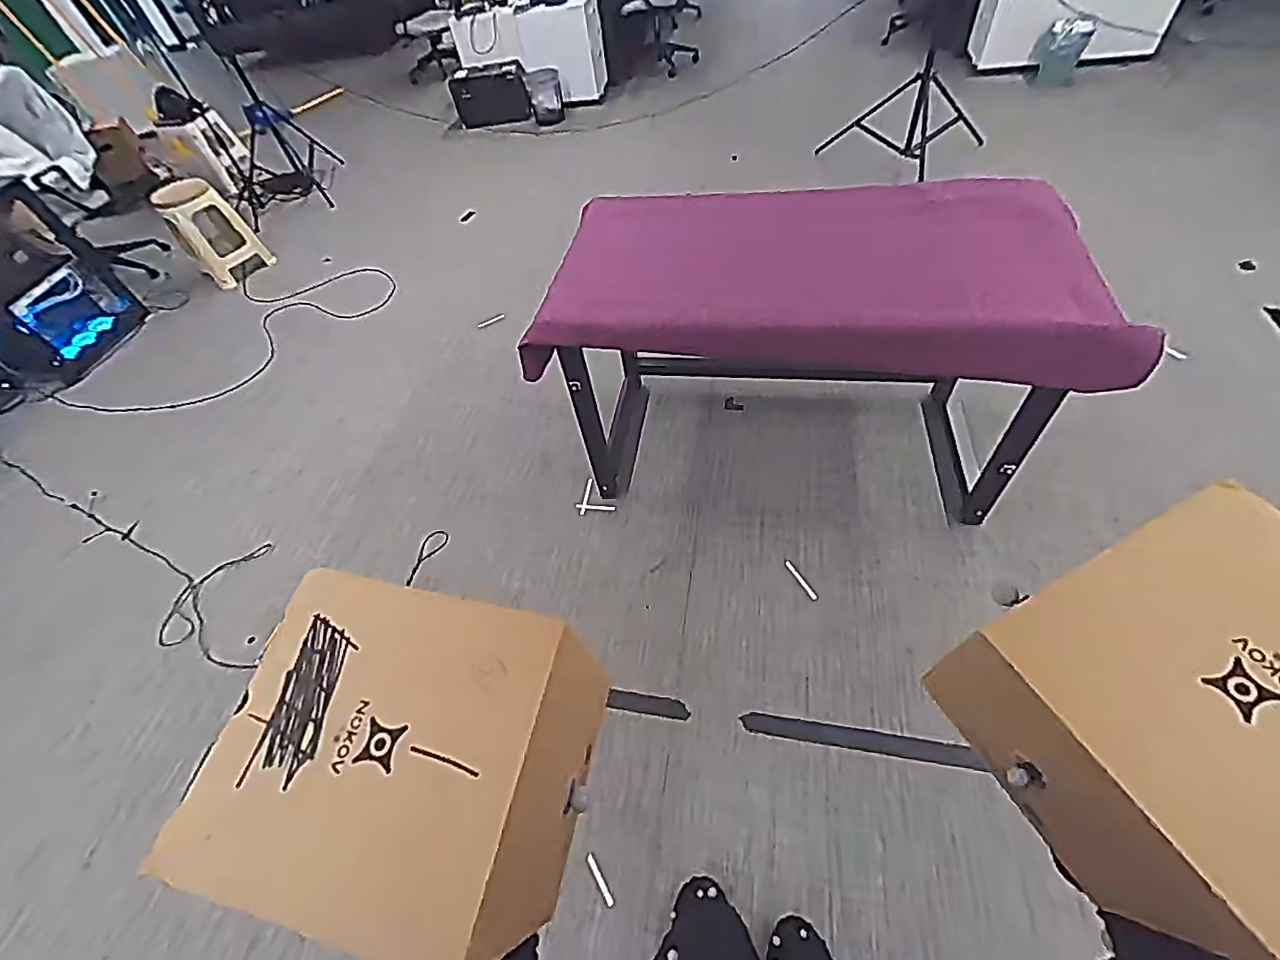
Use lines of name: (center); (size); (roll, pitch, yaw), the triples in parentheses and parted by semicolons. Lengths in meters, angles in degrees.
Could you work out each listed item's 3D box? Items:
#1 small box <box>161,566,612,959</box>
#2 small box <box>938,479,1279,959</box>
small box: (-0.130, 0.175, 0.357); (0.179, 0.176, 0.168); (9, 62, 12)
small box: (0.317, 0.138, 0.334); (0.179, 0.176, 0.168); (-30, 58, -3)
